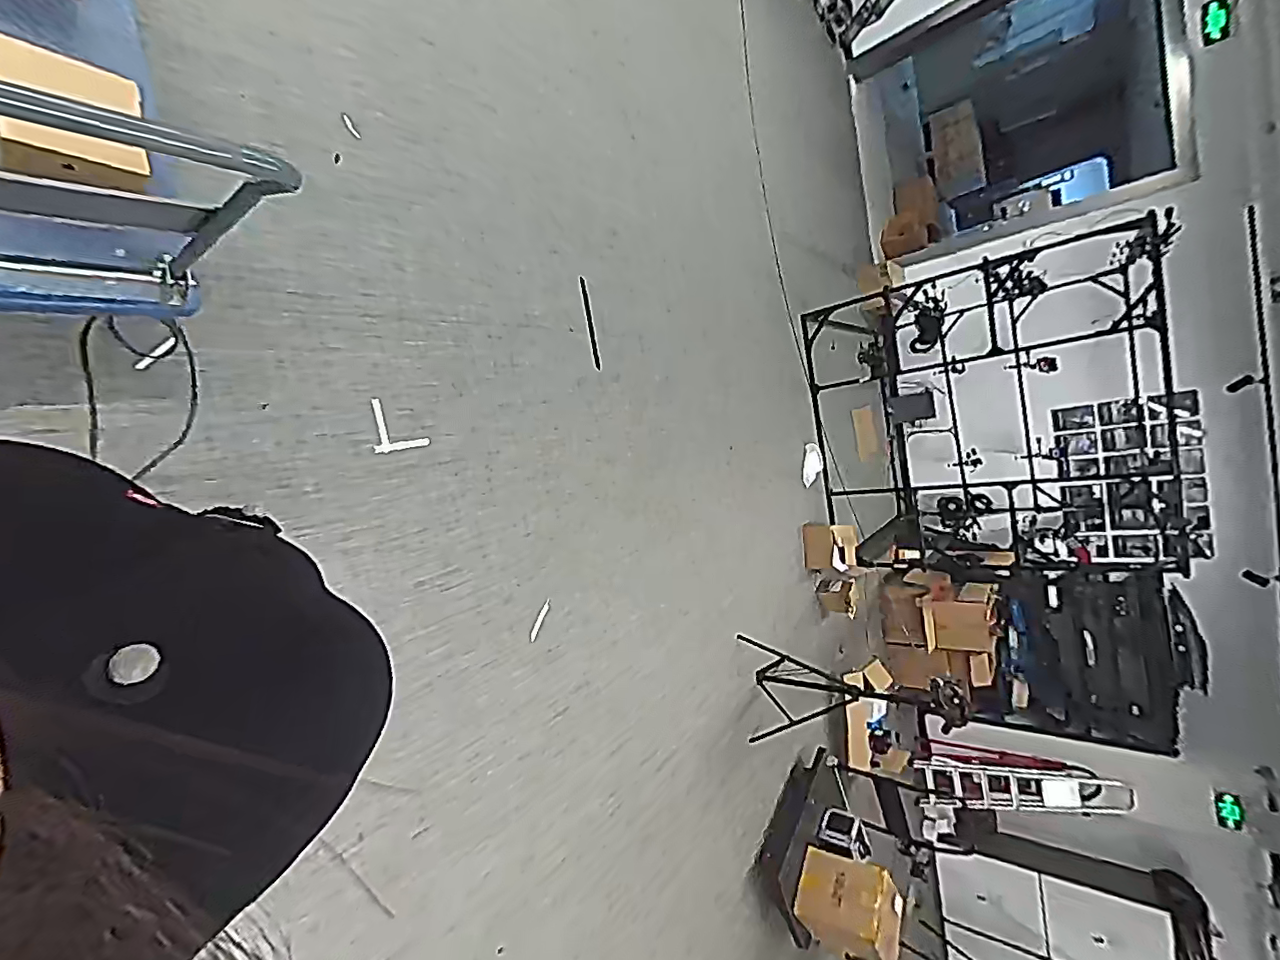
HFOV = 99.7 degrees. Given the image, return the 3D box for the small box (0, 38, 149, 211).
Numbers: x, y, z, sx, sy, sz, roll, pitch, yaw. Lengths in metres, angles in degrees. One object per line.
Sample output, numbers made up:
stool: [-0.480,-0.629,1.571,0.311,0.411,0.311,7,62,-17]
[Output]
small box: [-0.988,-0.595,0.934,0.179,0.176,0.168,-7,92,-51]
